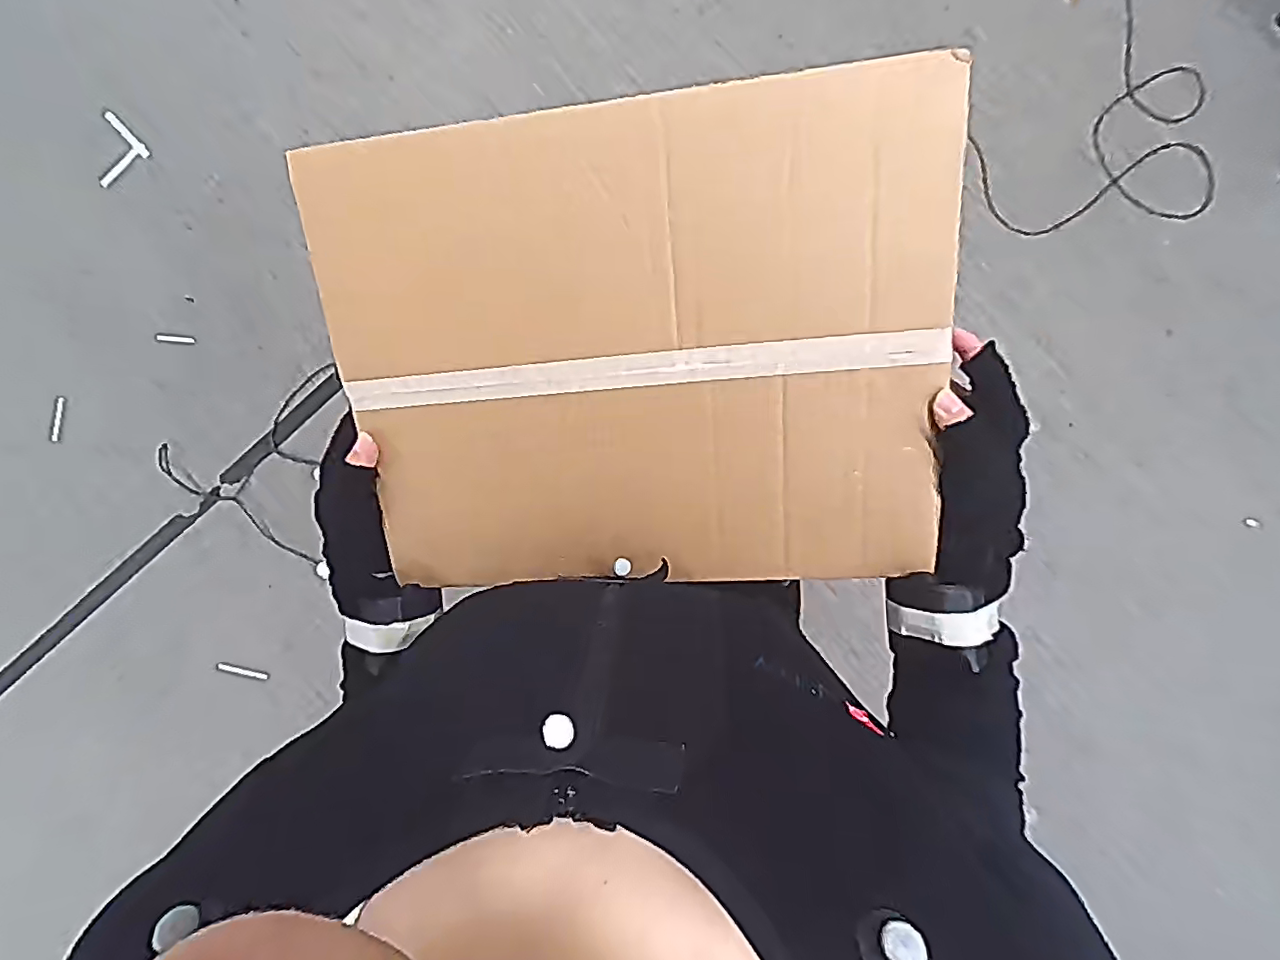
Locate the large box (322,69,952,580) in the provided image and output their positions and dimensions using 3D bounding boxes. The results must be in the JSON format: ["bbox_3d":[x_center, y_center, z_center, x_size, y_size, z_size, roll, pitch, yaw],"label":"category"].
[{"bbox_3d":[0.012,-0.120,0.517,0.408,0.320,0.320,-3,109,8],"label":"large box"}]
